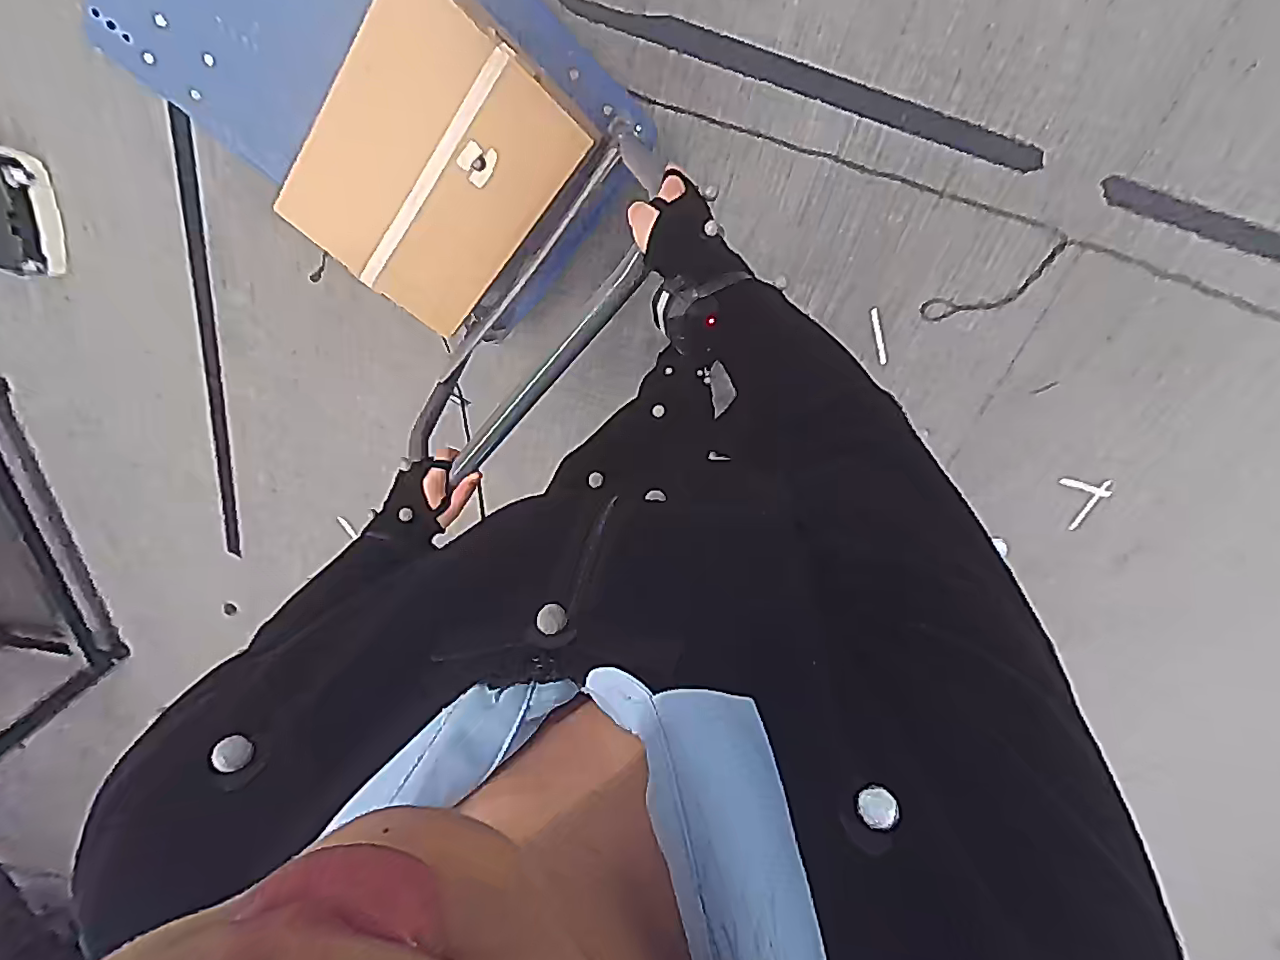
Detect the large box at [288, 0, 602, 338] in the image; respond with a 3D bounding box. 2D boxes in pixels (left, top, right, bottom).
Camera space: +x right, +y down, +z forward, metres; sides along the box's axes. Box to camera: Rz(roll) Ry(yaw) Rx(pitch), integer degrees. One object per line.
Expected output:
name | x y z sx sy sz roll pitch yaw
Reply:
large box | -0.311 -0.535 0.943 0.320 0.320 0.408 36 115 -23
